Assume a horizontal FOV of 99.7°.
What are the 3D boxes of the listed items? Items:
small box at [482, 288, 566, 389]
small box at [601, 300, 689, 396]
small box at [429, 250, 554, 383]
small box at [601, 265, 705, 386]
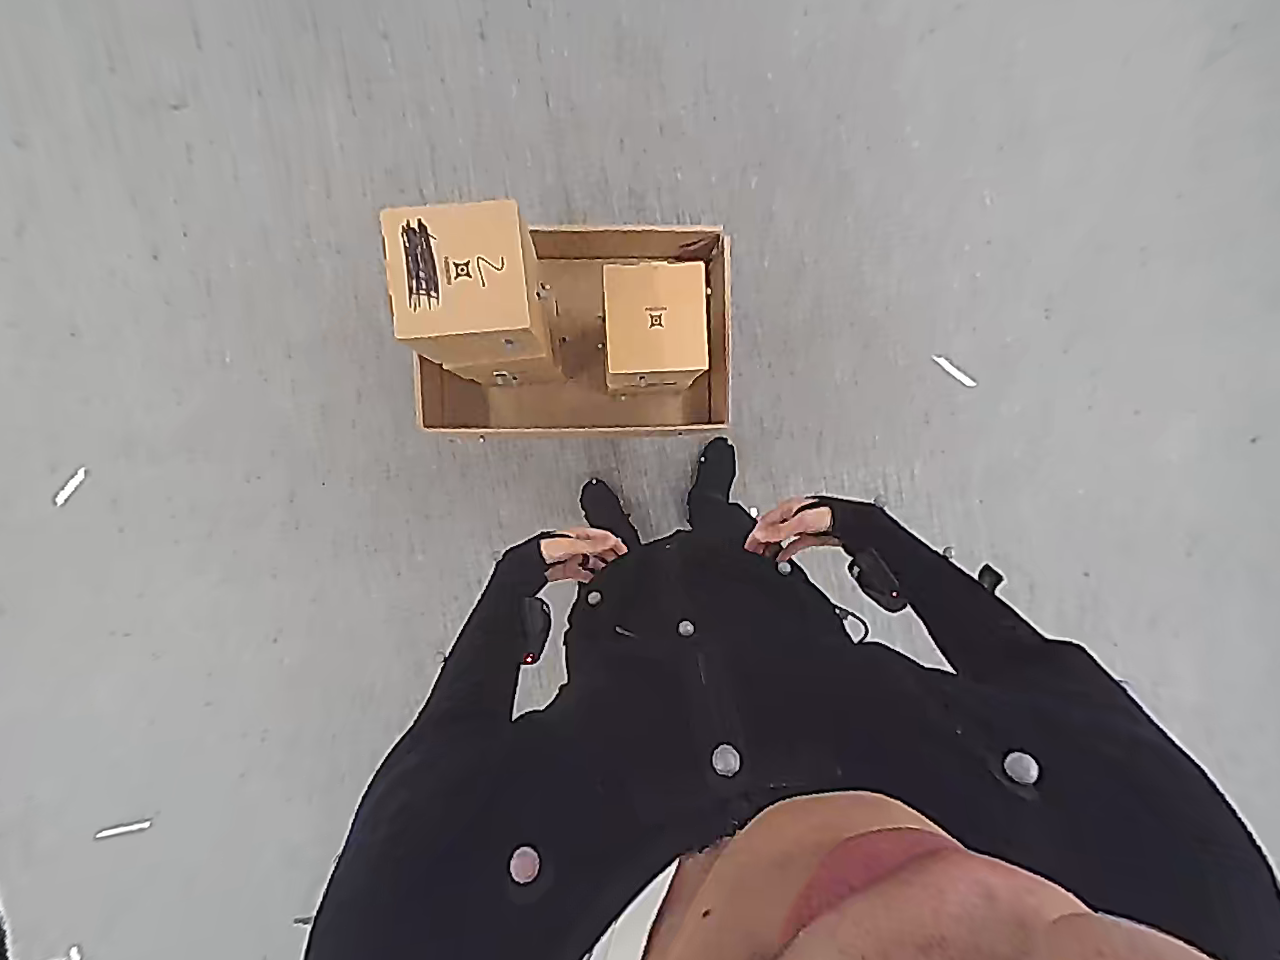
[{"bbox_3d":[-0.247,-0.280,1.096,0.179,0.176,0.168,-4,94,-4],"label":"small box"},{"bbox_3d":[0.008,-0.268,1.114,0.168,0.176,0.179,-4,93,-3],"label":"small box"},{"bbox_3d":[-0.246,-0.272,0.932,0.168,0.176,0.179,-7,93,-2],"label":"small box"},{"bbox_3d":[0.019,-0.261,0.952,0.168,0.176,0.179,-4,92,-3],"label":"small box"}]
